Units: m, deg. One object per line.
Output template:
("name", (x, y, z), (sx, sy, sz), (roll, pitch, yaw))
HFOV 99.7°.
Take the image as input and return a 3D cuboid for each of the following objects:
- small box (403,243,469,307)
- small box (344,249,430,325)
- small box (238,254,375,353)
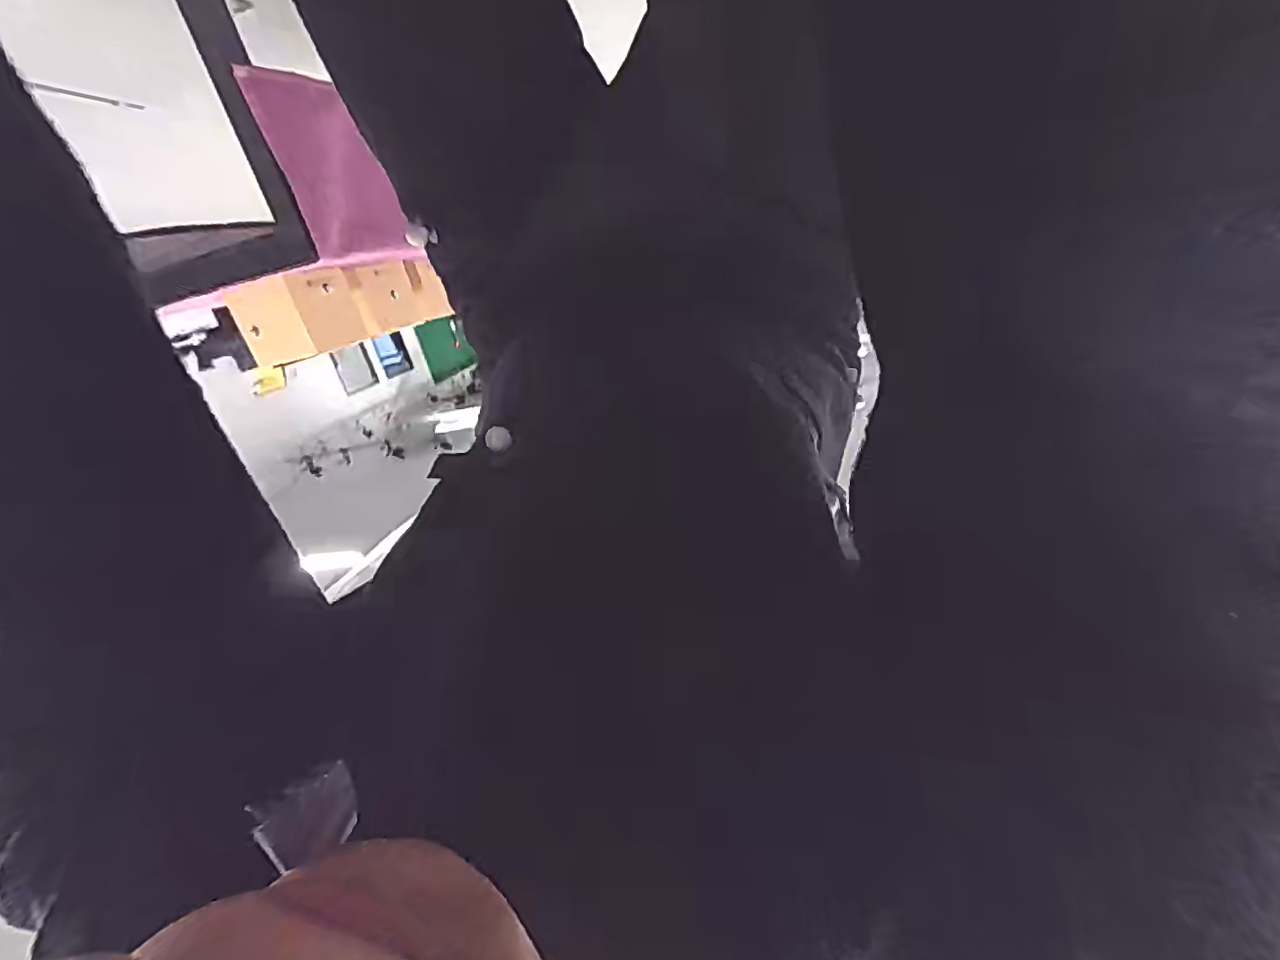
("small box", (-0.667, -0.624, 1.666), (0.179, 0.176, 0.168), (-6, -155, 20))
("small box", (-0.707, -0.512, 1.441), (0.179, 0.176, 0.168), (-3, -154, 24))
("small box", (-0.739, -0.394, 1.198), (0.179, 0.176, 0.168), (-5, -154, 19))
